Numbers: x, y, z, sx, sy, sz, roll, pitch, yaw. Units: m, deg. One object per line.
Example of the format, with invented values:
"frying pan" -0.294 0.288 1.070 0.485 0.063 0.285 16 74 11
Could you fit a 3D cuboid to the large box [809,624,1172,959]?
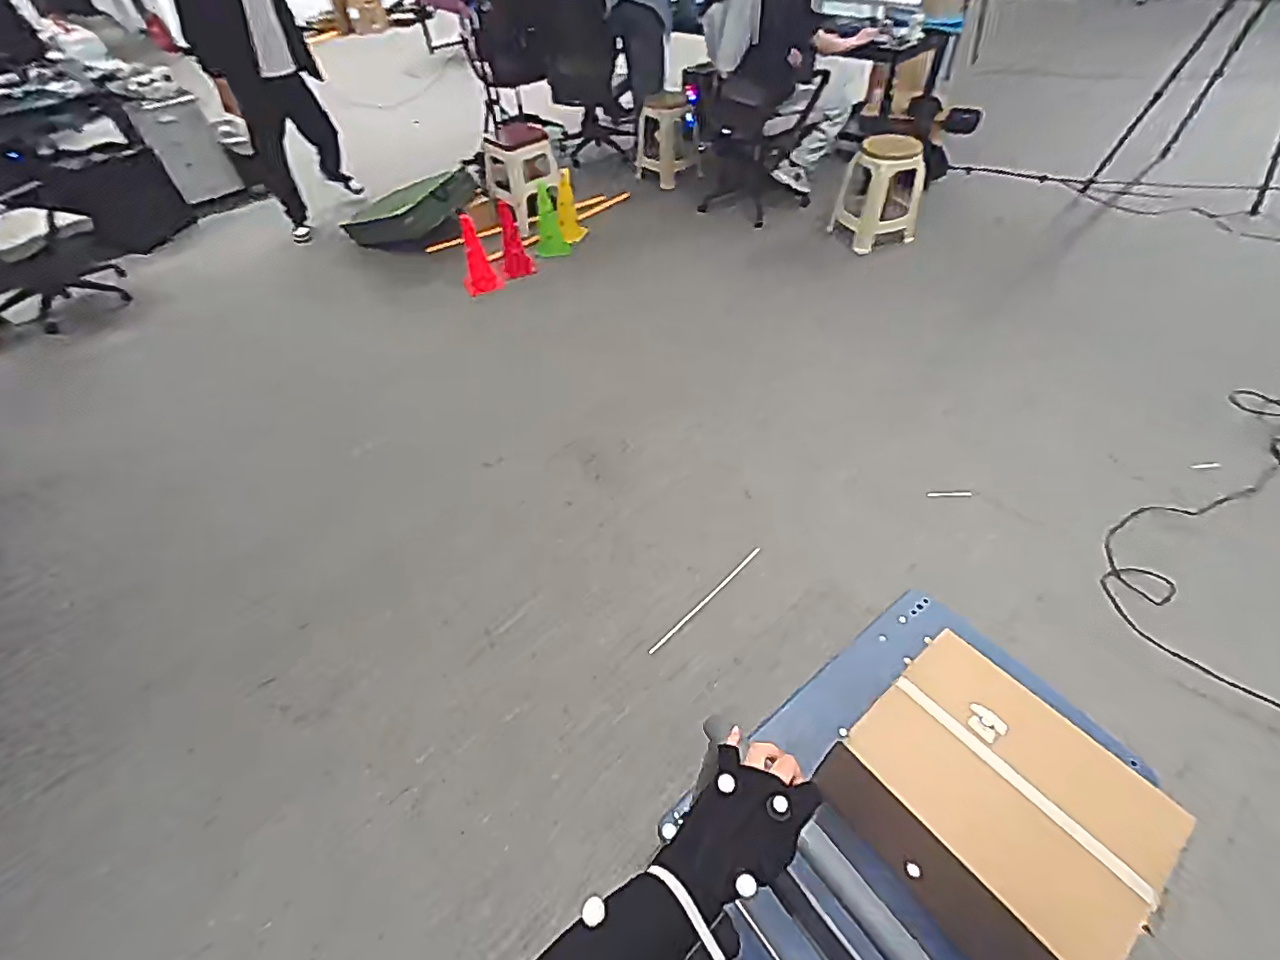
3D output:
"large box" 0.581 0.555 0.981 0.320 0.320 0.408 -33 54 -21
